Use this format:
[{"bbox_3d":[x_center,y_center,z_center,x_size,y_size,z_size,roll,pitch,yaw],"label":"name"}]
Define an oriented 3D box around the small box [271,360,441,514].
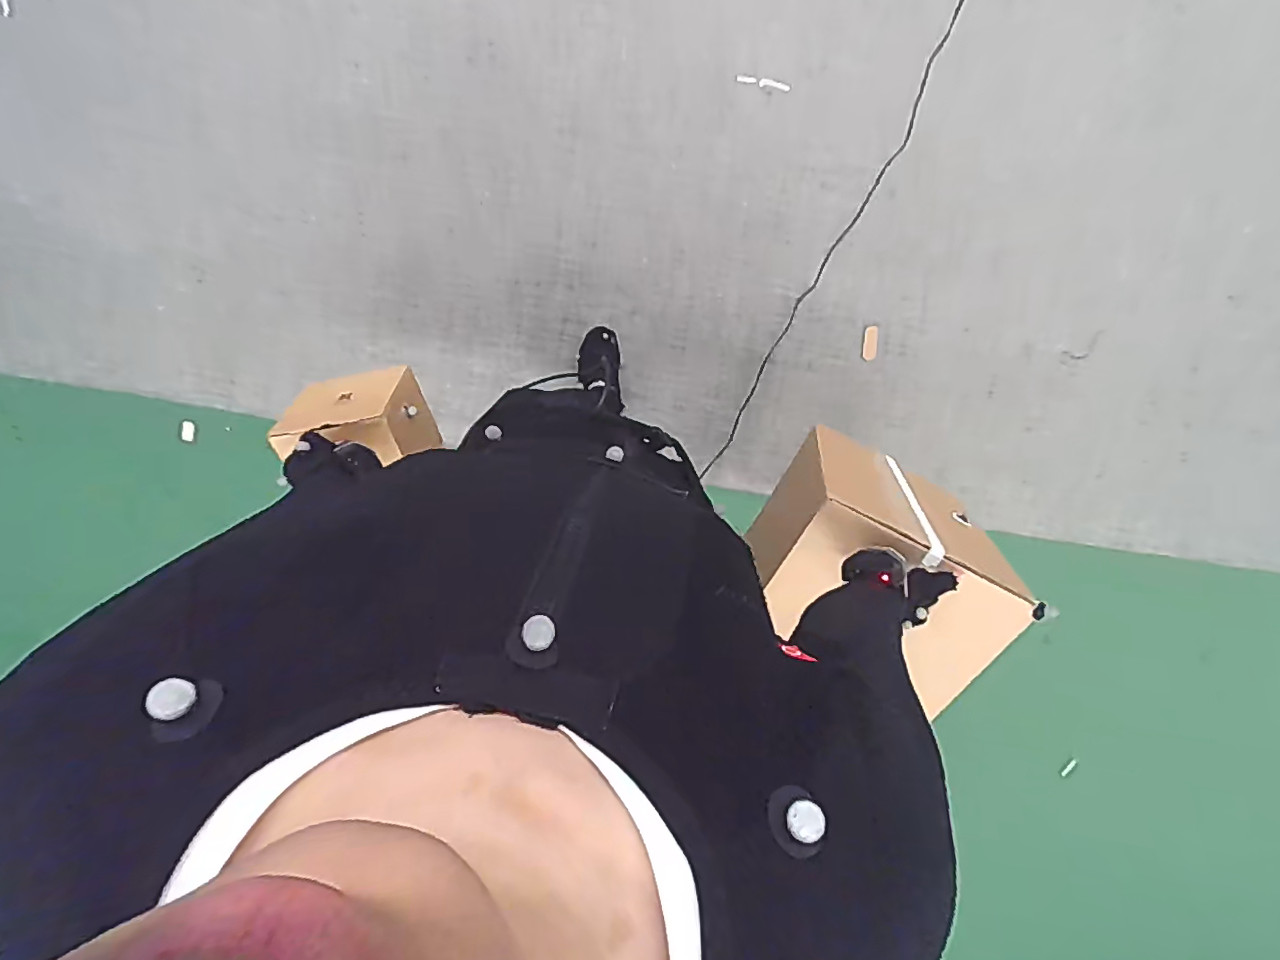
[{"bbox_3d":[-0.439,-0.070,0.874,0.168,0.179,0.176,-11,128,0],"label":"small box"}]
